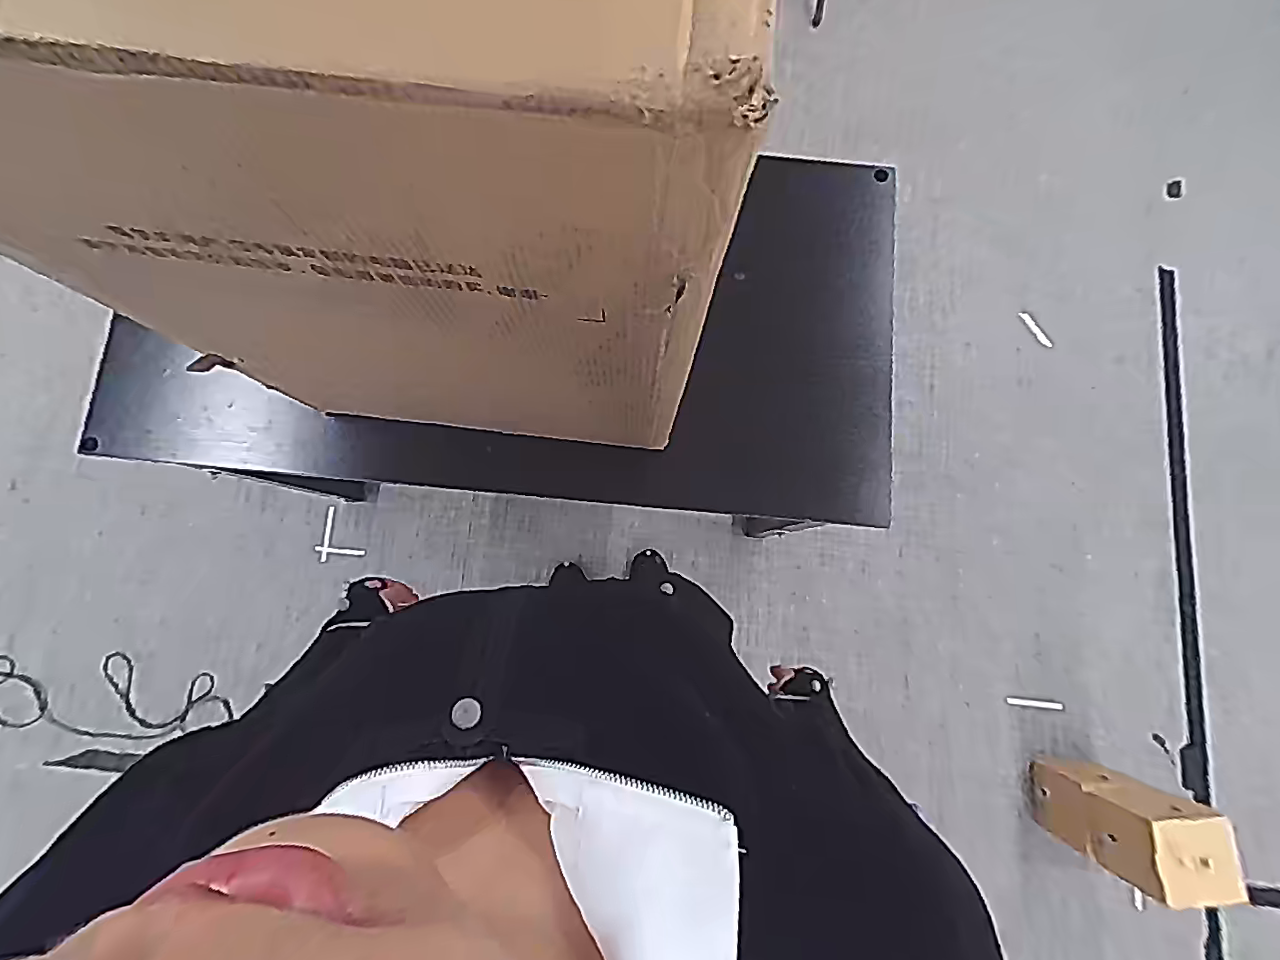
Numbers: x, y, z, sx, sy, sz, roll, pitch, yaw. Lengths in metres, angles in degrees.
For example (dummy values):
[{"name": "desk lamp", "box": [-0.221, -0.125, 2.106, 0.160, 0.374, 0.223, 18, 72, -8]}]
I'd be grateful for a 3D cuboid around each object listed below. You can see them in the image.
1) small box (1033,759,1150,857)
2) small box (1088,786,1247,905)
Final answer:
[{"name": "small box", "box": [1.138, 0.819, 1.360, 0.179, 0.176, 0.168, 2, 80, 0]}, {"name": "small box", "box": [1.154, 0.797, 1.197, 0.179, 0.176, 0.168, -2, 80, -2]}]
